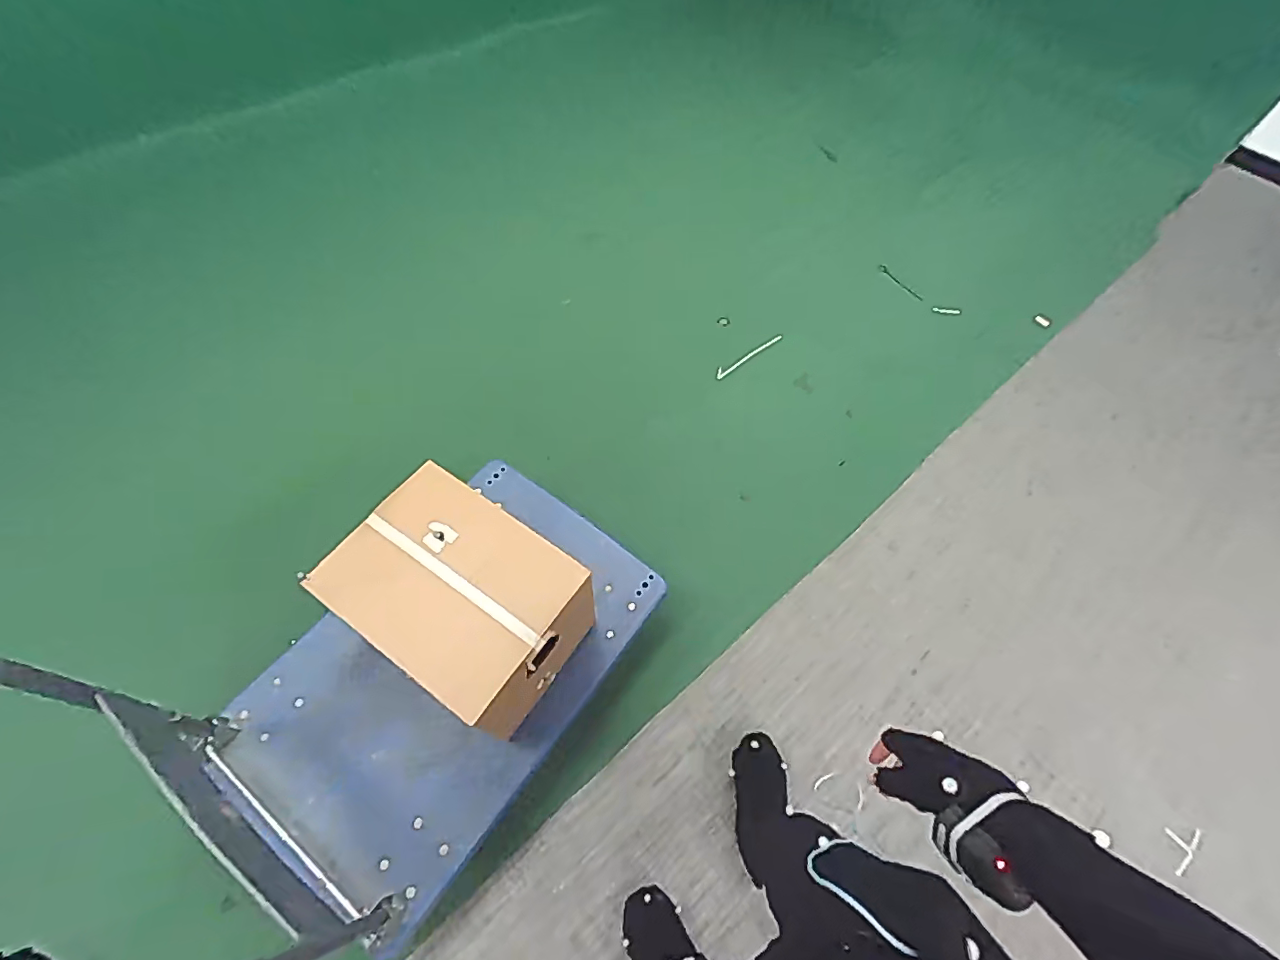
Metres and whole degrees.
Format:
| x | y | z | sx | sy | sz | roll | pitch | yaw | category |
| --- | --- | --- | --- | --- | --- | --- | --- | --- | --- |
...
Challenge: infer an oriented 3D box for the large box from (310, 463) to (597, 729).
| x | y | z | sx | sy | sz | roll | pitch | yaw | category |
| --- | --- | --- | --- | --- | --- | --- | --- | --- | --- |
| -0.338 | 0.242 | 1.094 | 0.408 | 0.320 | 0.320 | 31 | 63 | 15 | large box |
